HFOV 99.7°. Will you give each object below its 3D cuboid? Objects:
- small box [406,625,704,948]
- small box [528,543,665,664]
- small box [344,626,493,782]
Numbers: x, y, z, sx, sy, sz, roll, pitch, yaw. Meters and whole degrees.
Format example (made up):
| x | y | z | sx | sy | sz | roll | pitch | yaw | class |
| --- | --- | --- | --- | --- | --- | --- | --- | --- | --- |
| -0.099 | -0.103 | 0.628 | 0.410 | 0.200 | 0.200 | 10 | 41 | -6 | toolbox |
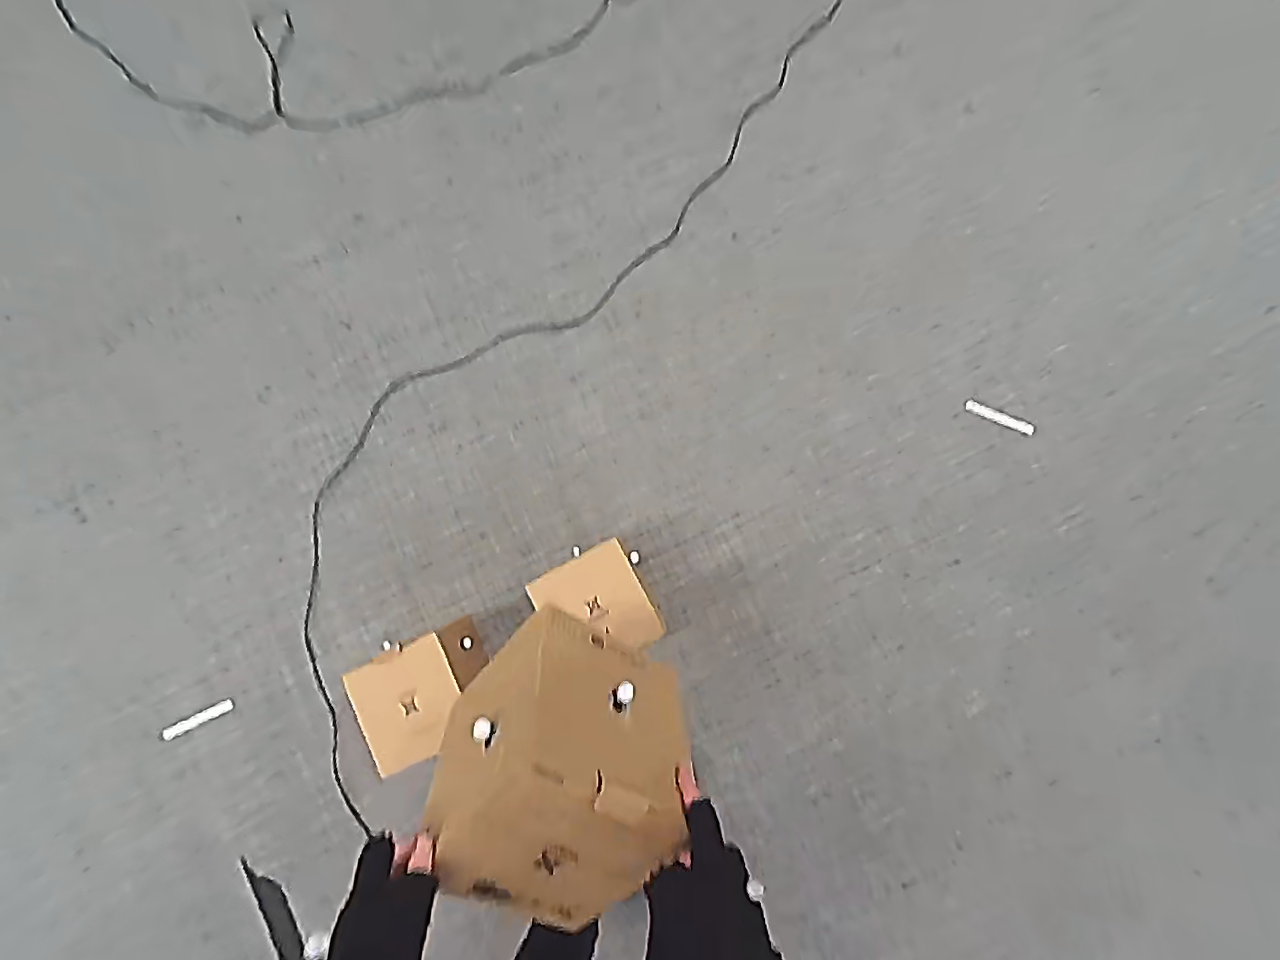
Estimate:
| x | y | z | sx | sy | sz | roll | pitch | yaw | class |
| --- | --- | --- | --- | --- | --- | --- | --- | --- | --- |
| -0.073 | 0.265 | 0.484 | 0.168 | 0.176 | 0.179 | 34 | 110 | -21 | small box |
| -0.070 | 0.222 | 0.932 | 0.168 | 0.176 | 0.179 | -28 | 86 | -2 | small box |
| -0.358 | 0.364 | 0.923 | 0.168 | 0.176 | 0.179 | -24 | 86 | -1 | small box |
